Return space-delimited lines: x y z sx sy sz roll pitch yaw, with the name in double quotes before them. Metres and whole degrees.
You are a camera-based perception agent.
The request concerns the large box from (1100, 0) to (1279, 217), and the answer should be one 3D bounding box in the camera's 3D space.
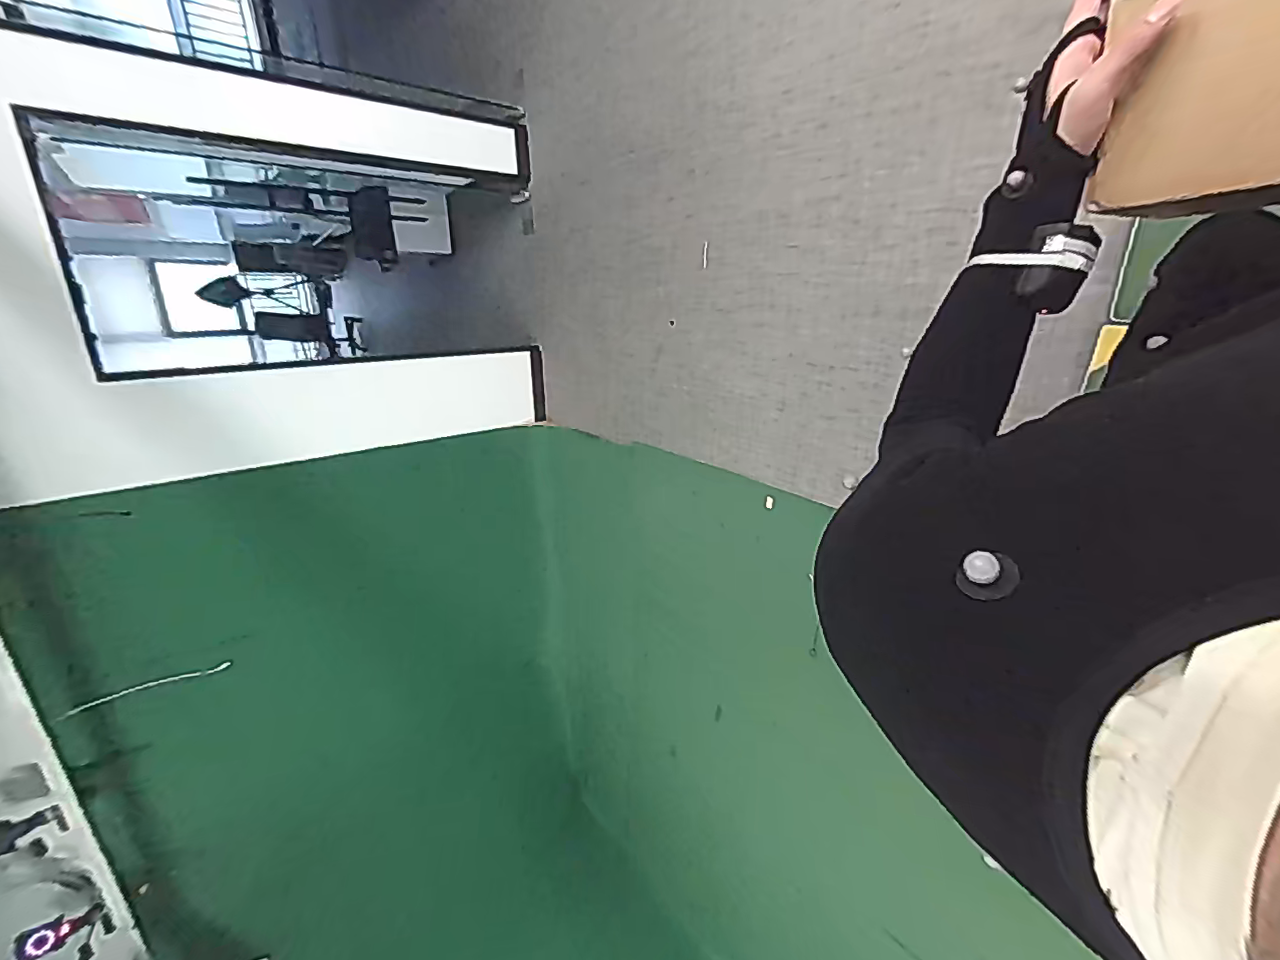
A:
"large box" 0.609 -0.388 0.359 0.408 0.320 0.320 13 116 48
